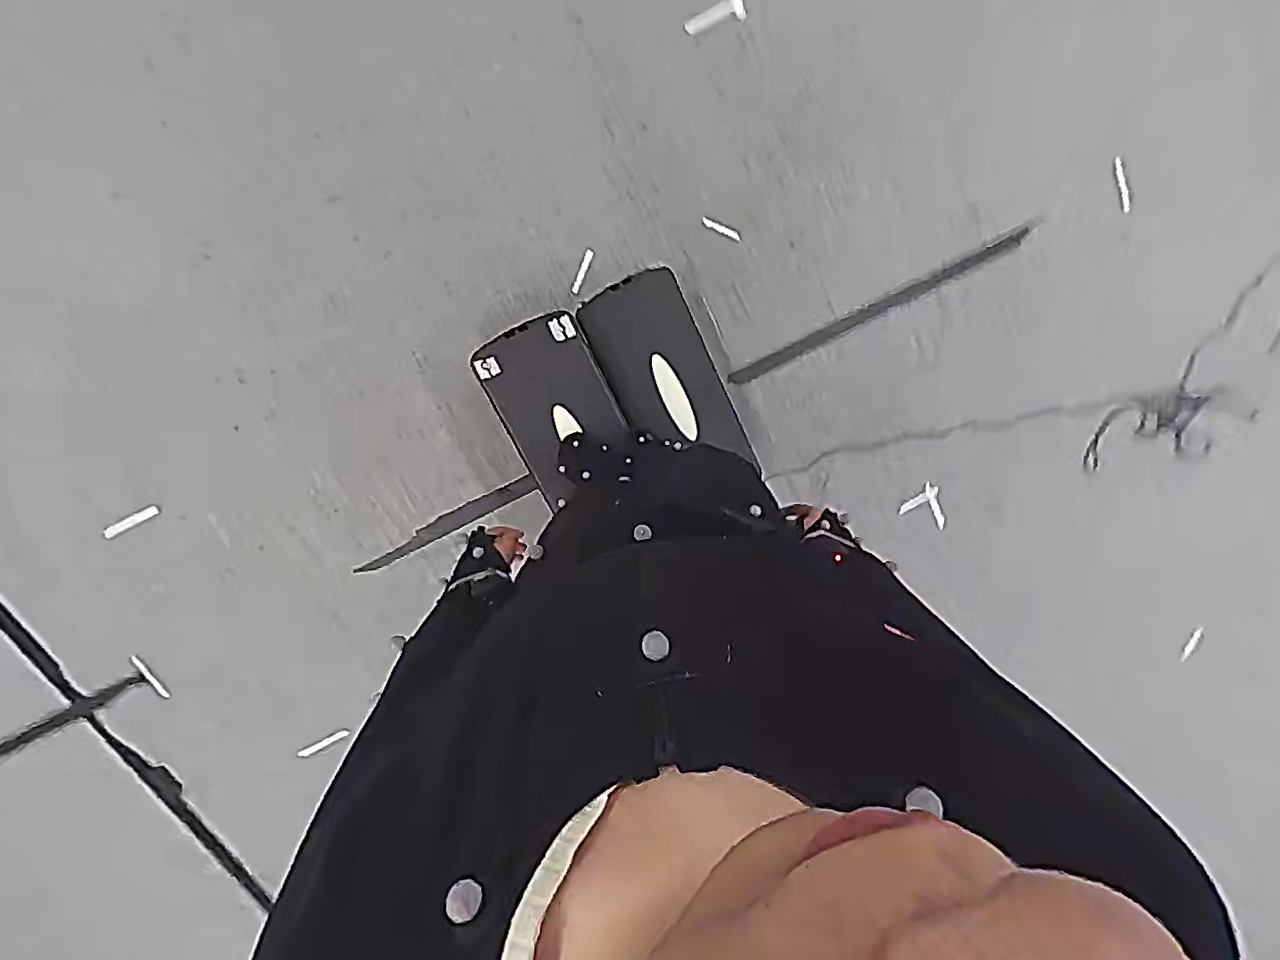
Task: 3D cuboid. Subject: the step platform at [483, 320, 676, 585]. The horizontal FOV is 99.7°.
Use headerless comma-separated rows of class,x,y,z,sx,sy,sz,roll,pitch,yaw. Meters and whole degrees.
step platform,-0.150,-0.067,1.439,0.286,0.204,0.684,-24,100,-3
